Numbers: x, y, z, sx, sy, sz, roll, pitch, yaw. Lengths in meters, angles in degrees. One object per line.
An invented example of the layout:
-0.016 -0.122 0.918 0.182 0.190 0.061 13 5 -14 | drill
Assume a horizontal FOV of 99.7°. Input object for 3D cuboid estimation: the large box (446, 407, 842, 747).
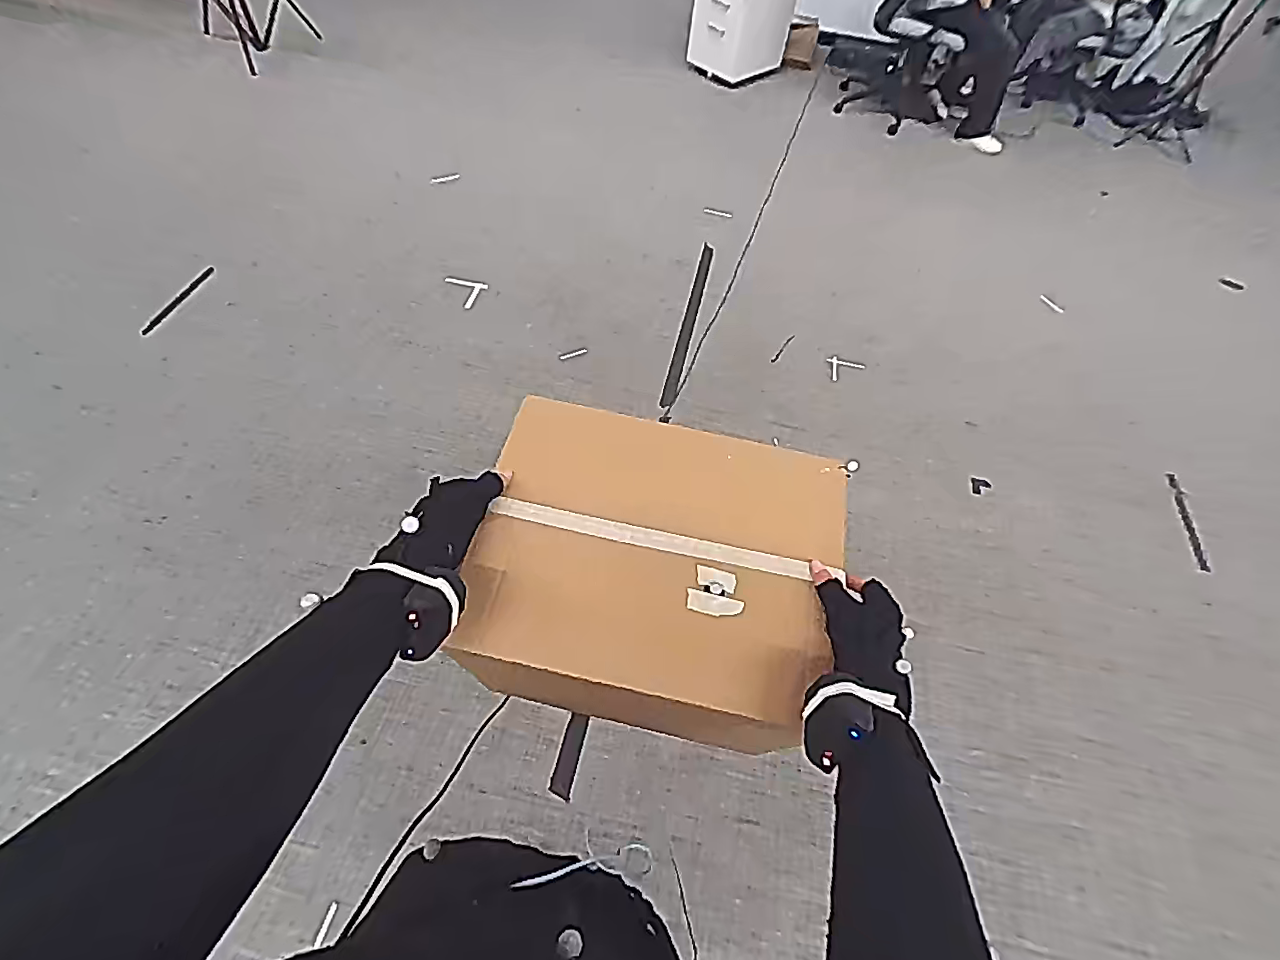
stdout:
0.015 0.146 0.734 0.408 0.320 0.320 13 61 3 | large box
